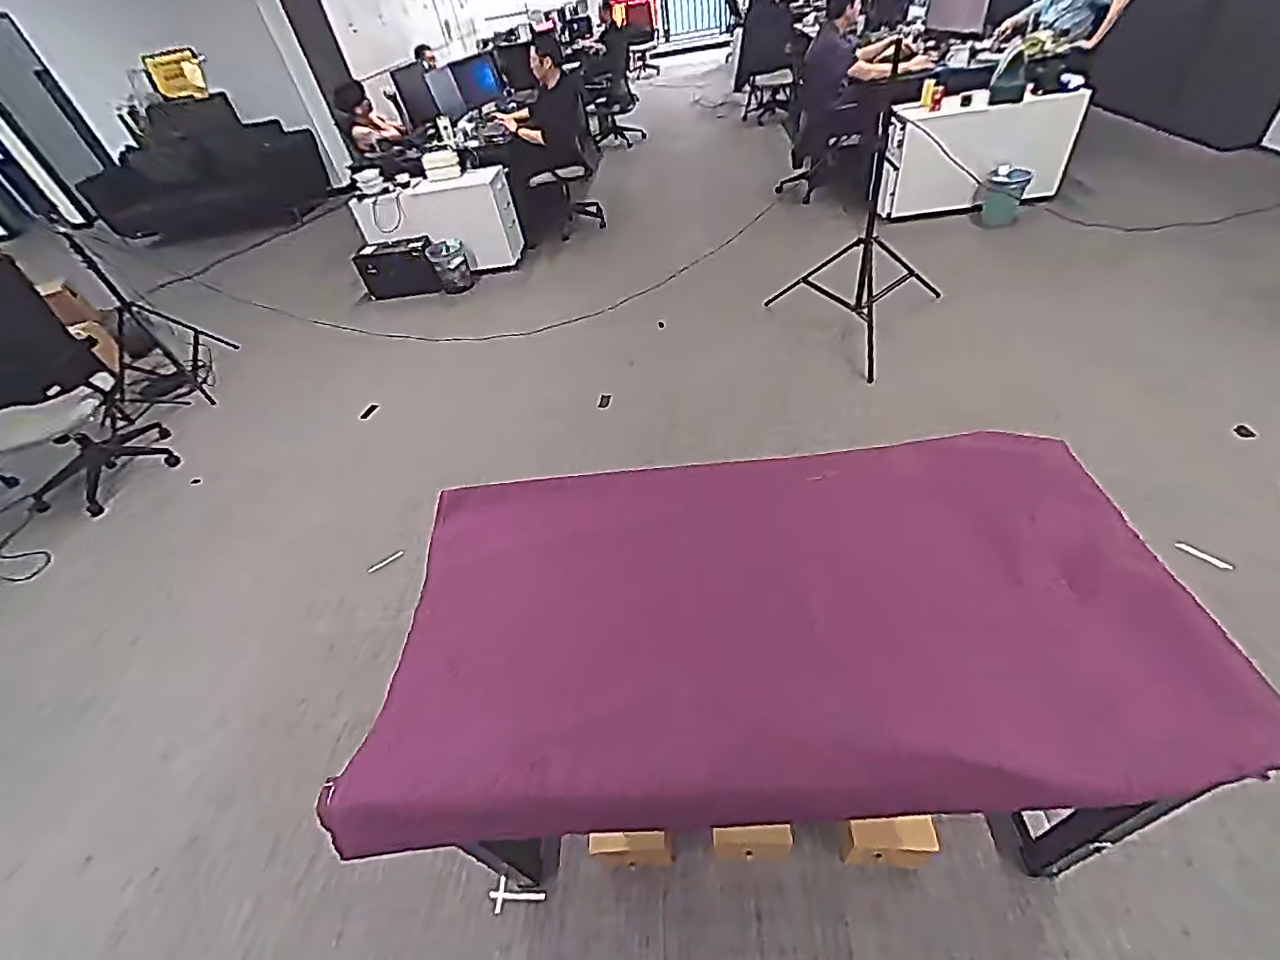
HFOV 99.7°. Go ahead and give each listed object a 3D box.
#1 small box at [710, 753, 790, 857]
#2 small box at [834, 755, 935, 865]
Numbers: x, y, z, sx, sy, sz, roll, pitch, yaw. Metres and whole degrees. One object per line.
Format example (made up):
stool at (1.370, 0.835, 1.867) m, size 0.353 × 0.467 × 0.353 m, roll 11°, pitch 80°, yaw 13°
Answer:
small box at (0.251, 0.756, 1.255) m, size 0.168 × 0.176 × 0.179 m, roll -4°, pitch 43°, yaw 7°
small box at (0.538, 0.743, 1.213) m, size 0.168 × 0.176 × 0.179 m, roll -2°, pitch 43°, yaw 10°
